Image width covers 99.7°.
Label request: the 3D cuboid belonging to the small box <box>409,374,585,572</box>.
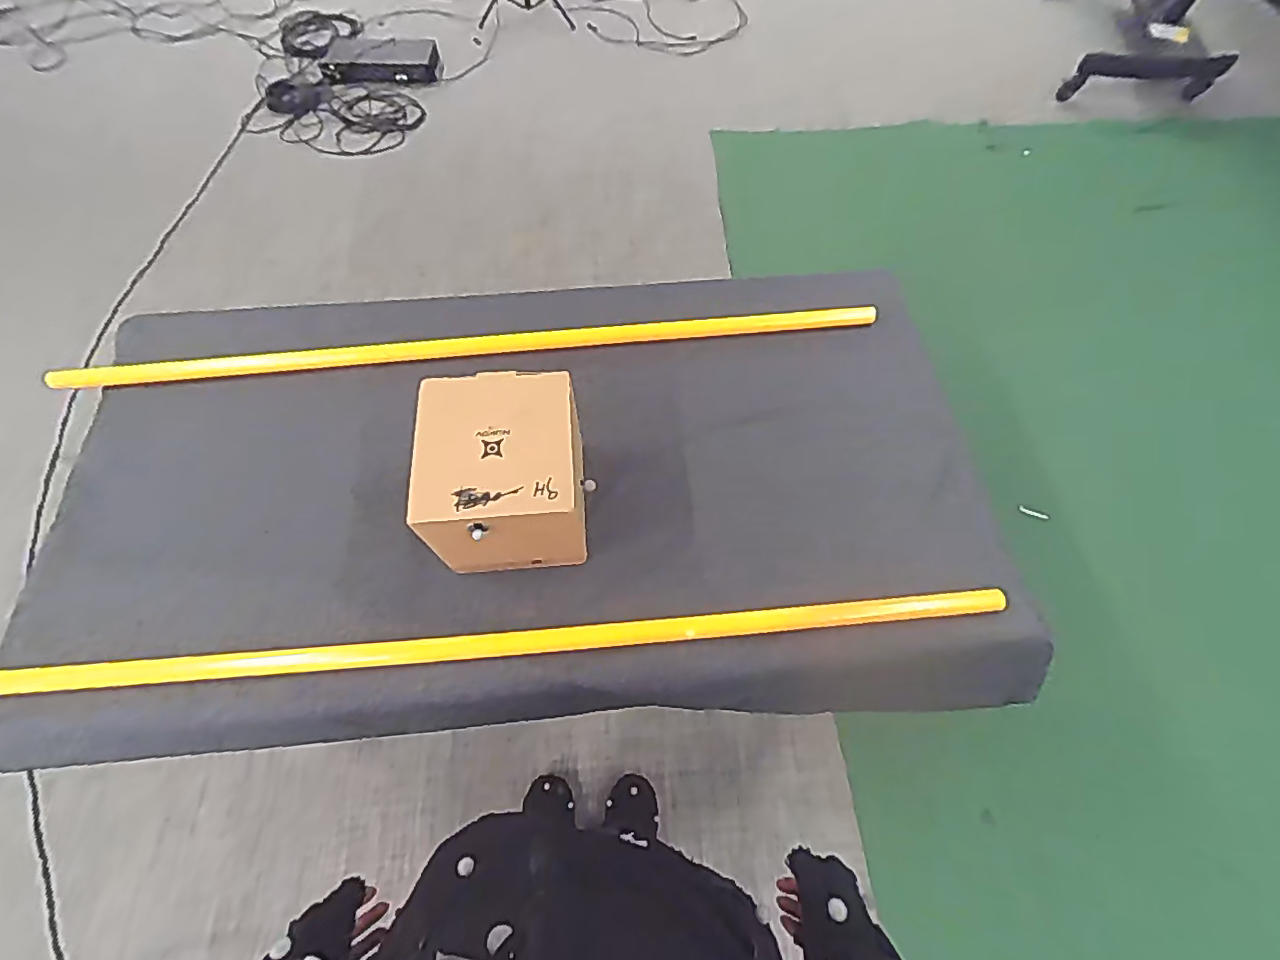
[{"bbox_3d":[-0.156,-0.003,0.648,0.168,0.176,0.179,-5,63,-2],"label":"small box"}]
